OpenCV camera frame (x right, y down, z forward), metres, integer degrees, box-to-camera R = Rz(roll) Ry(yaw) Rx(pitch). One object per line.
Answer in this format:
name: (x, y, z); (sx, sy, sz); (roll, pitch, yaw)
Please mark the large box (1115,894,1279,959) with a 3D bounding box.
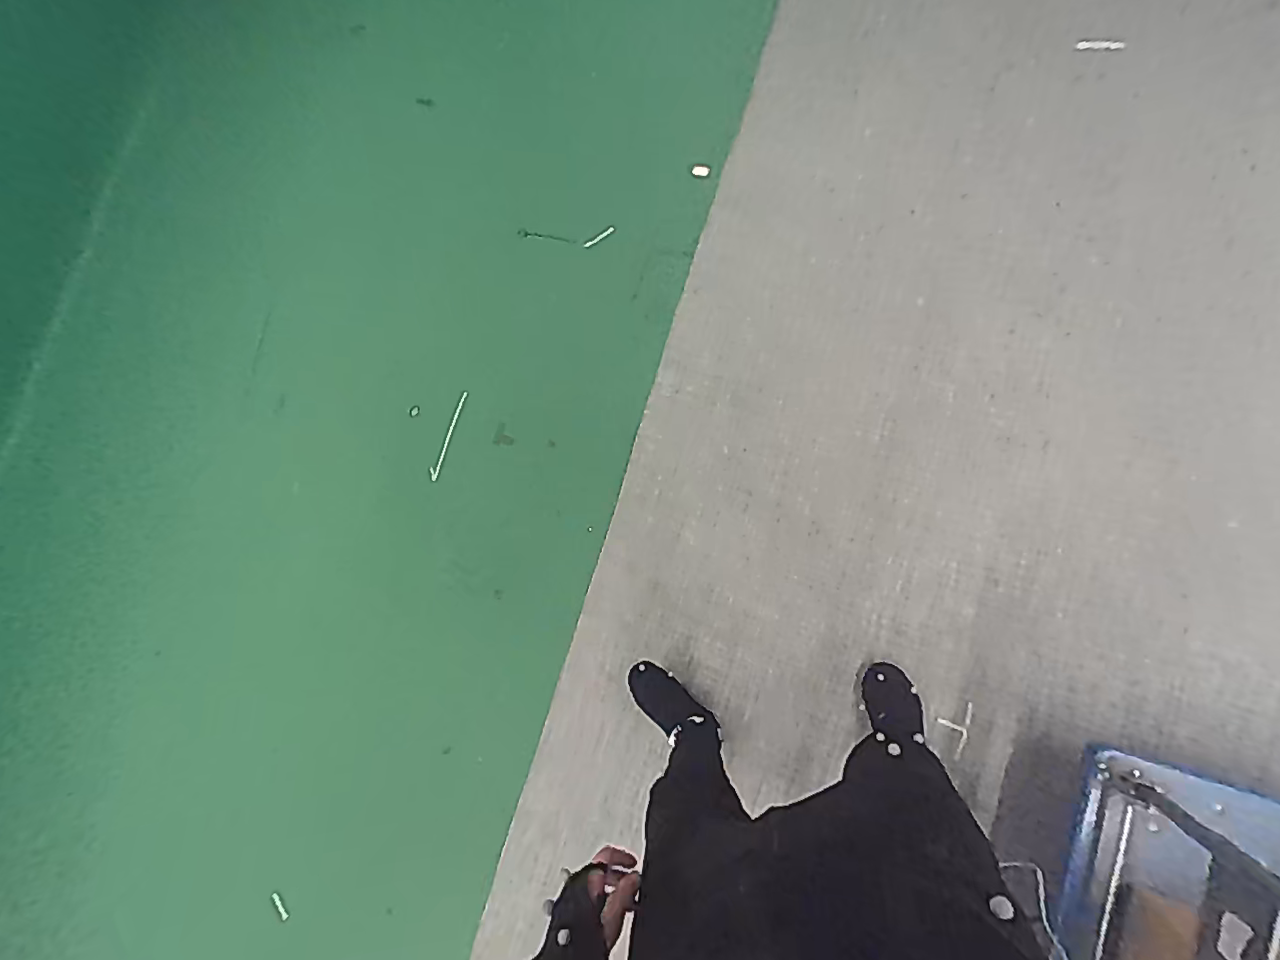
large box: (0.980, 0.900, 0.762); (0.408, 0.320, 0.320); (13, 85, 20)
